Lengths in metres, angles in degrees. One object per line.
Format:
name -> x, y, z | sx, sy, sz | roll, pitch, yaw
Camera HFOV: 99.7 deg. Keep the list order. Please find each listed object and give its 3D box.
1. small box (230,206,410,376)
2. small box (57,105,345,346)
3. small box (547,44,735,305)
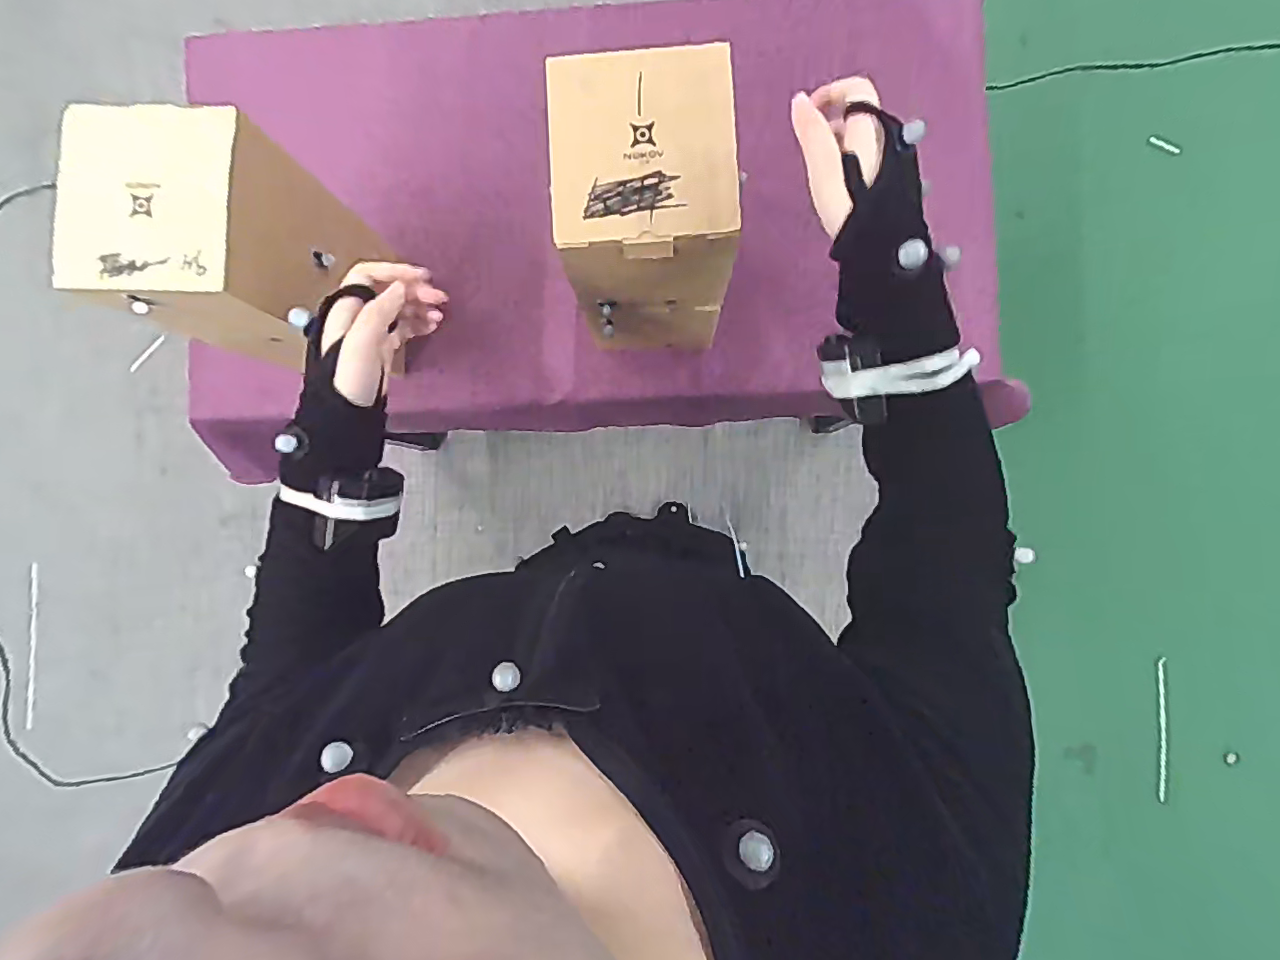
small box -> -0.435, -0.251, 0.741 | 0.168, 0.176, 0.179 | 3, 89, 3
small box -> -0.443, -0.256, 0.576 | 0.168, 0.176, 0.179 | 3, 87, 4
small box -> 0.005, -0.290, 0.556 | 0.168, 0.176, 0.179 | -3, 86, 2
